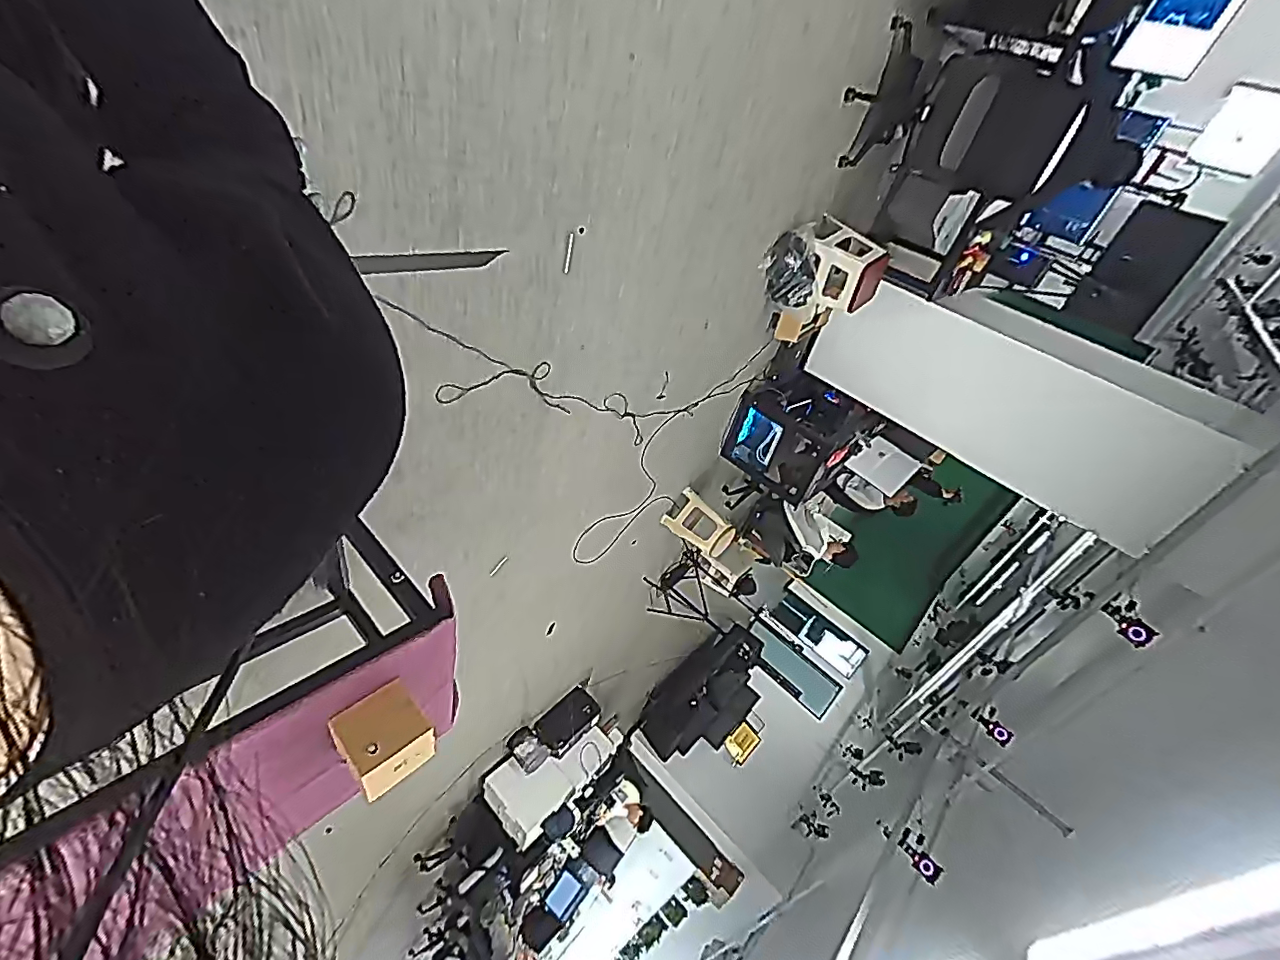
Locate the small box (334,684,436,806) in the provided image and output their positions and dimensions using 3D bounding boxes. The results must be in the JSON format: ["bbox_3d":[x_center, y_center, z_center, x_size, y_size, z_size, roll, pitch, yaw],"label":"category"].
[{"bbox_3d":[-0.626,0.644,1.327,0.179,0.176,0.168,-29,148,-40],"label":"small box"}]
